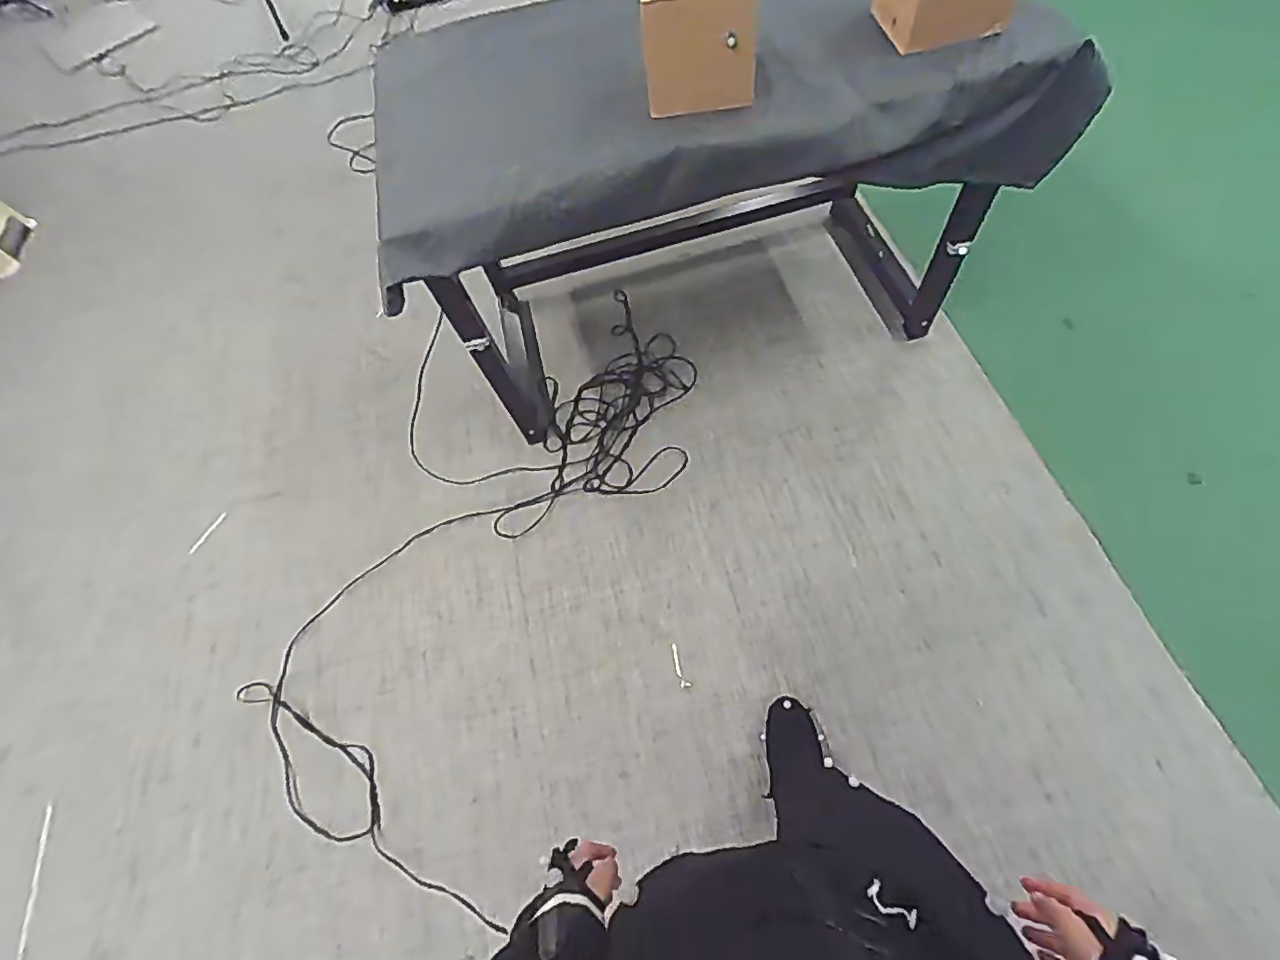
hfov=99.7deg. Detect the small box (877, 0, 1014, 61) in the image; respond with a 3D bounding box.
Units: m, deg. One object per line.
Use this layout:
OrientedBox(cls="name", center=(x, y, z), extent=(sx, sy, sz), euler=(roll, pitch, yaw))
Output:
OrientedBox(cls="small box", center=(0.511, -0.832, 0.890), extent=(0.179, 0.176, 0.168), euler=(-10, 64, 3))
